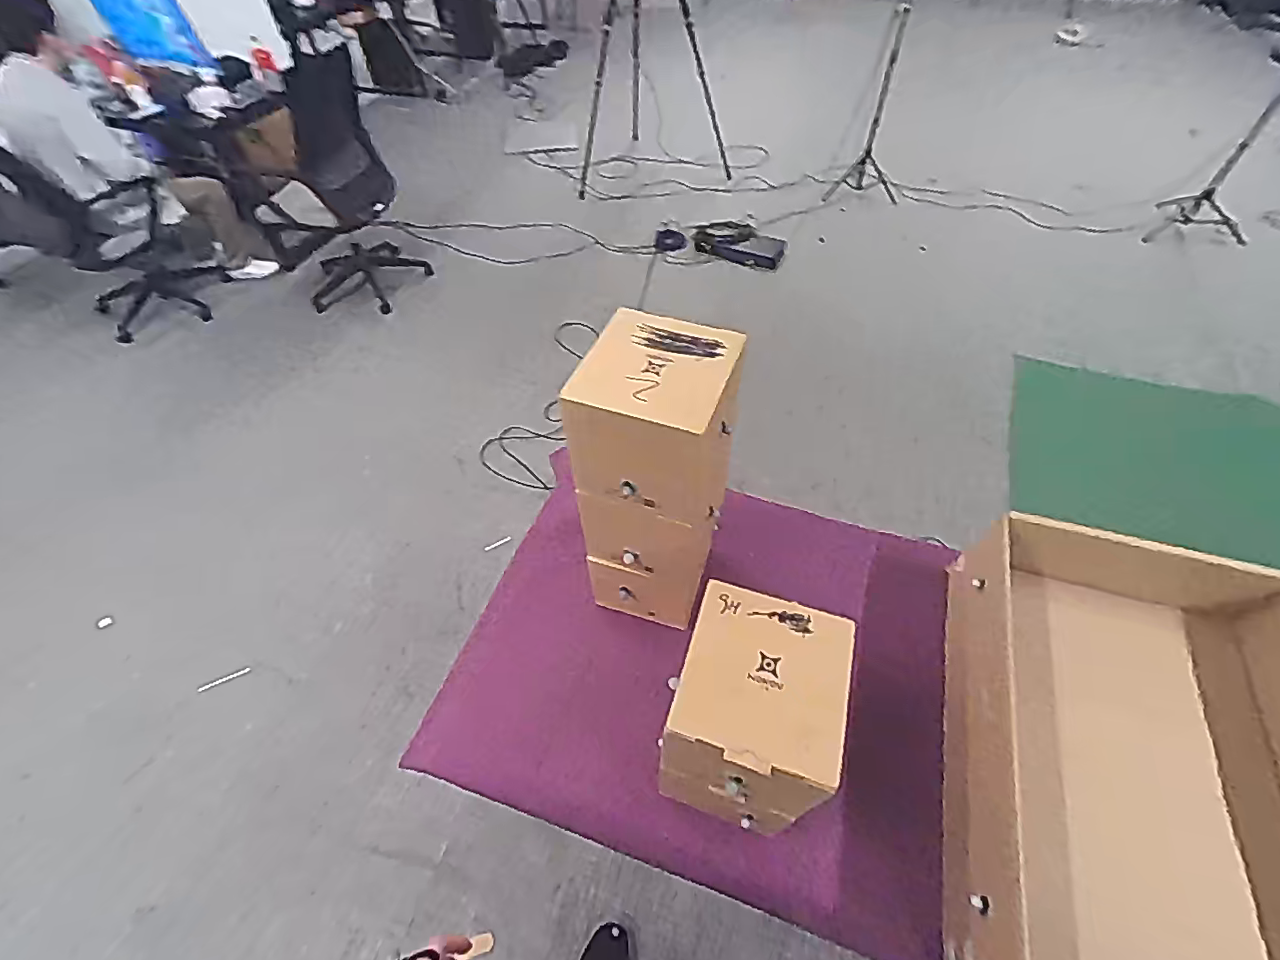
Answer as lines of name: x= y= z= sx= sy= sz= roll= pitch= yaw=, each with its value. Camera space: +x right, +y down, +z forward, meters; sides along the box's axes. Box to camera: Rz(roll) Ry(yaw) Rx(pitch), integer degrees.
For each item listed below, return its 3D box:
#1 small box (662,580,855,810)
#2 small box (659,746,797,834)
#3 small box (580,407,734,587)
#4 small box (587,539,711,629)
small box: x=0.129 y=0.248 z=0.616 sx=0.168 sy=0.176 sz=0.179 roll=15 pitch=53 yaw=13
small box: x=0.132 y=0.354 z=0.740 sx=0.168 sy=0.176 sz=0.179 roll=15 pitch=52 yaw=14
small box: x=0.028 y=0.026 z=0.800 sx=0.168 sy=0.176 sz=0.179 roll=17 pitch=54 yaw=16
small box: x=0.025 y=0.130 z=0.927 sx=0.168 sy=0.176 sz=0.179 roll=13 pitch=52 yaw=13
